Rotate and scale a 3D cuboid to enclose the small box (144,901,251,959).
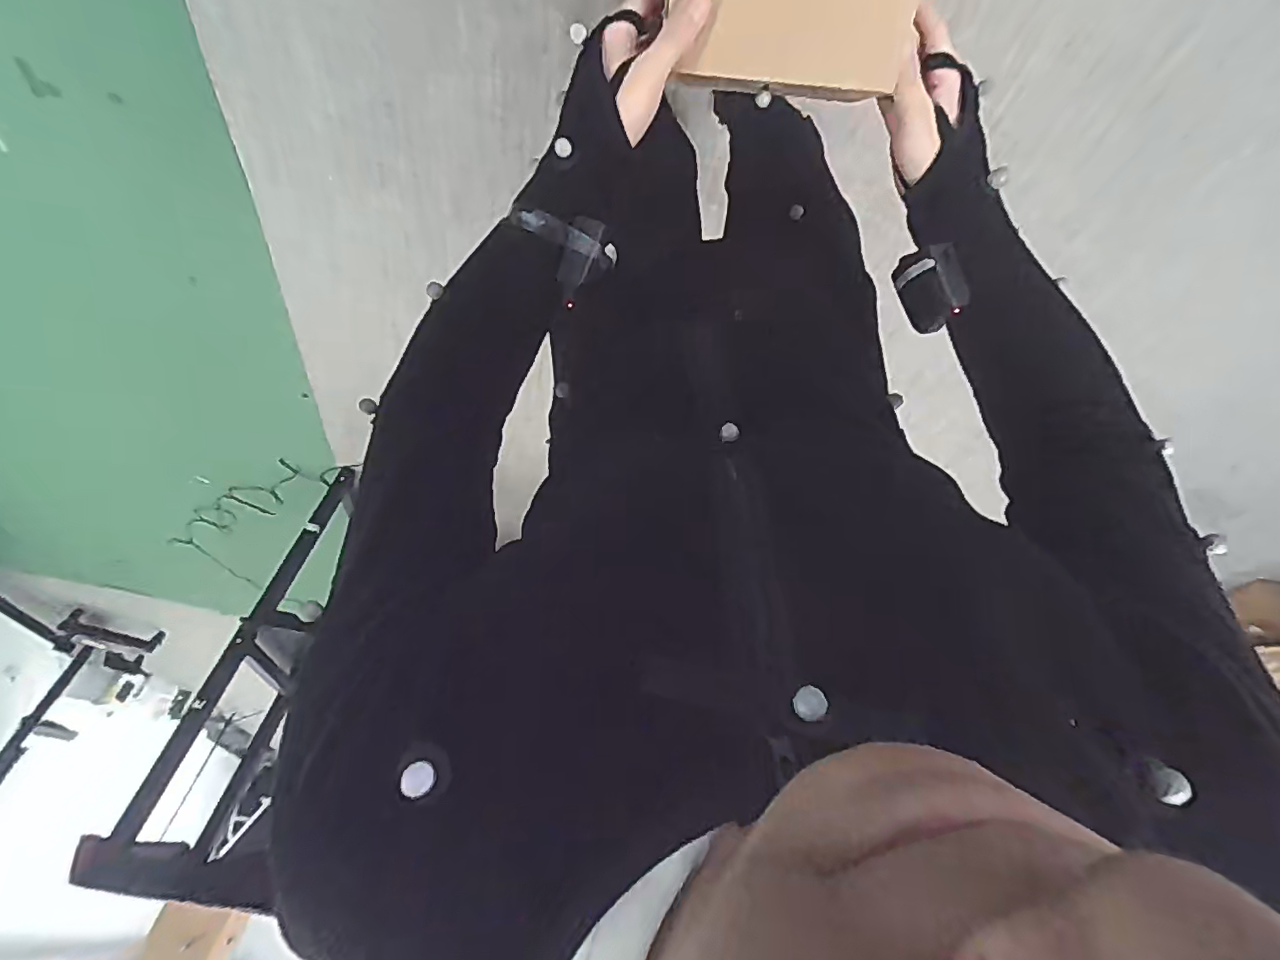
[{"bbox_3d":[-1.190,1.248,1.452,0.179,0.176,0.168,12,139,-6],"label":"small box"}]
